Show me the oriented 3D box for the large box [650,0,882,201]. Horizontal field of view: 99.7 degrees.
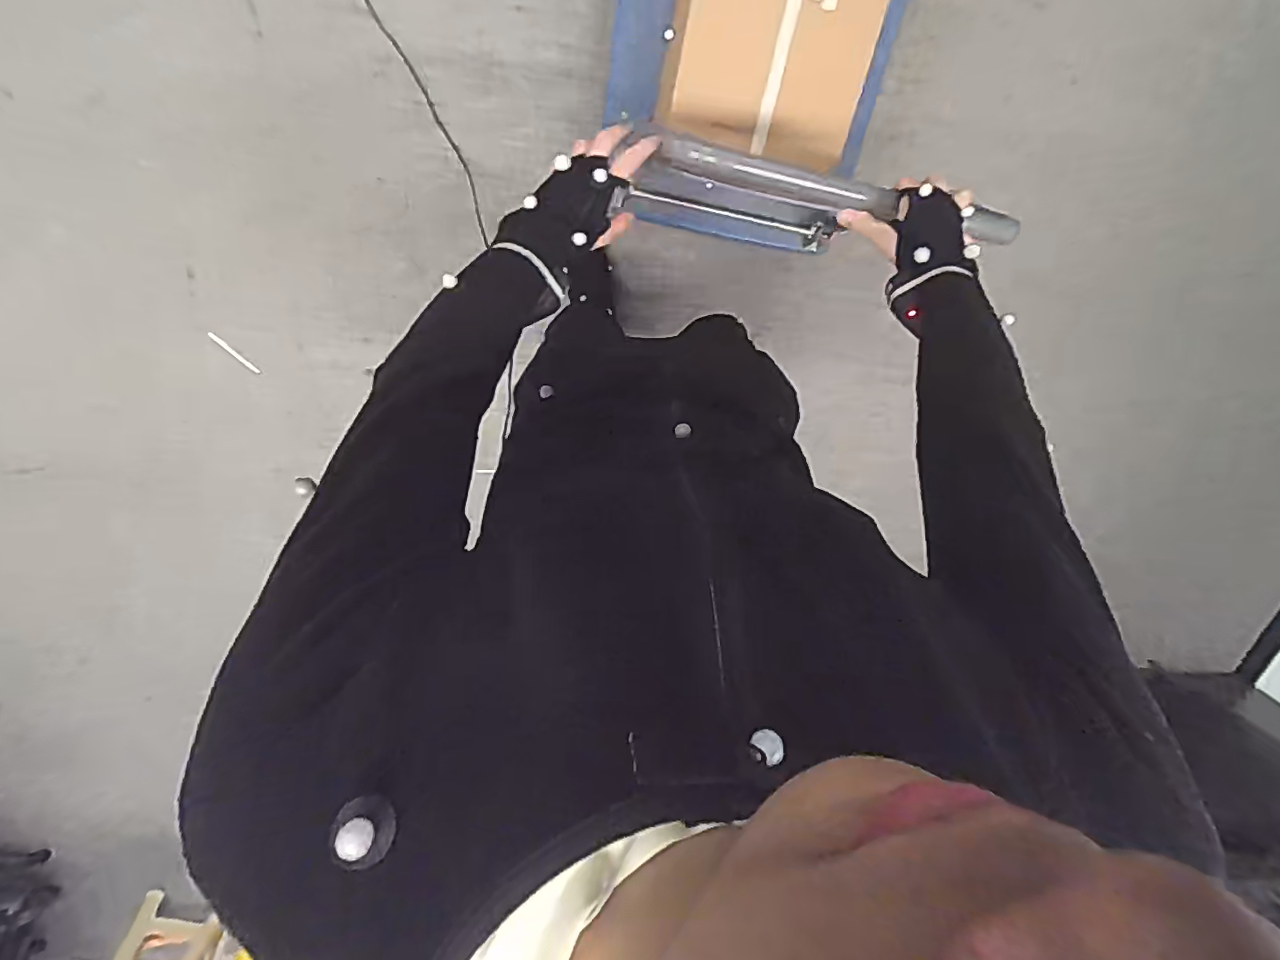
[{"bbox_3d":[0.215,-0.786,1.021,0.320,0.320,0.408,9,112,-10],"label":"large box"}]
